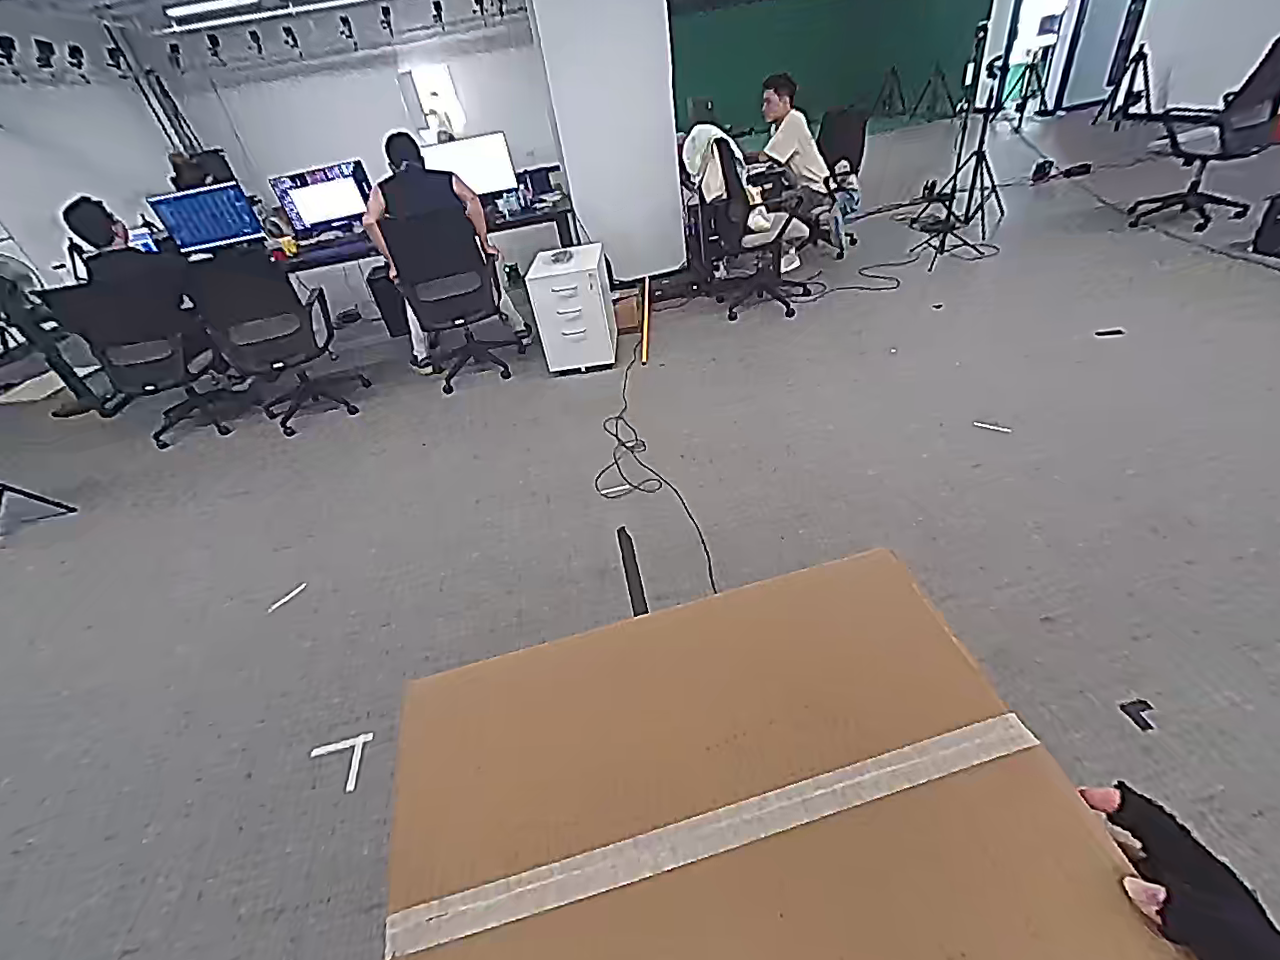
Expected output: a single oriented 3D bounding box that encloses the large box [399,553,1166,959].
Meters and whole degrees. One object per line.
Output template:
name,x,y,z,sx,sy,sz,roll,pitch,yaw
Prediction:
large box,0.068,0.319,0.445,0.408,0.320,0.320,-15,45,-4
